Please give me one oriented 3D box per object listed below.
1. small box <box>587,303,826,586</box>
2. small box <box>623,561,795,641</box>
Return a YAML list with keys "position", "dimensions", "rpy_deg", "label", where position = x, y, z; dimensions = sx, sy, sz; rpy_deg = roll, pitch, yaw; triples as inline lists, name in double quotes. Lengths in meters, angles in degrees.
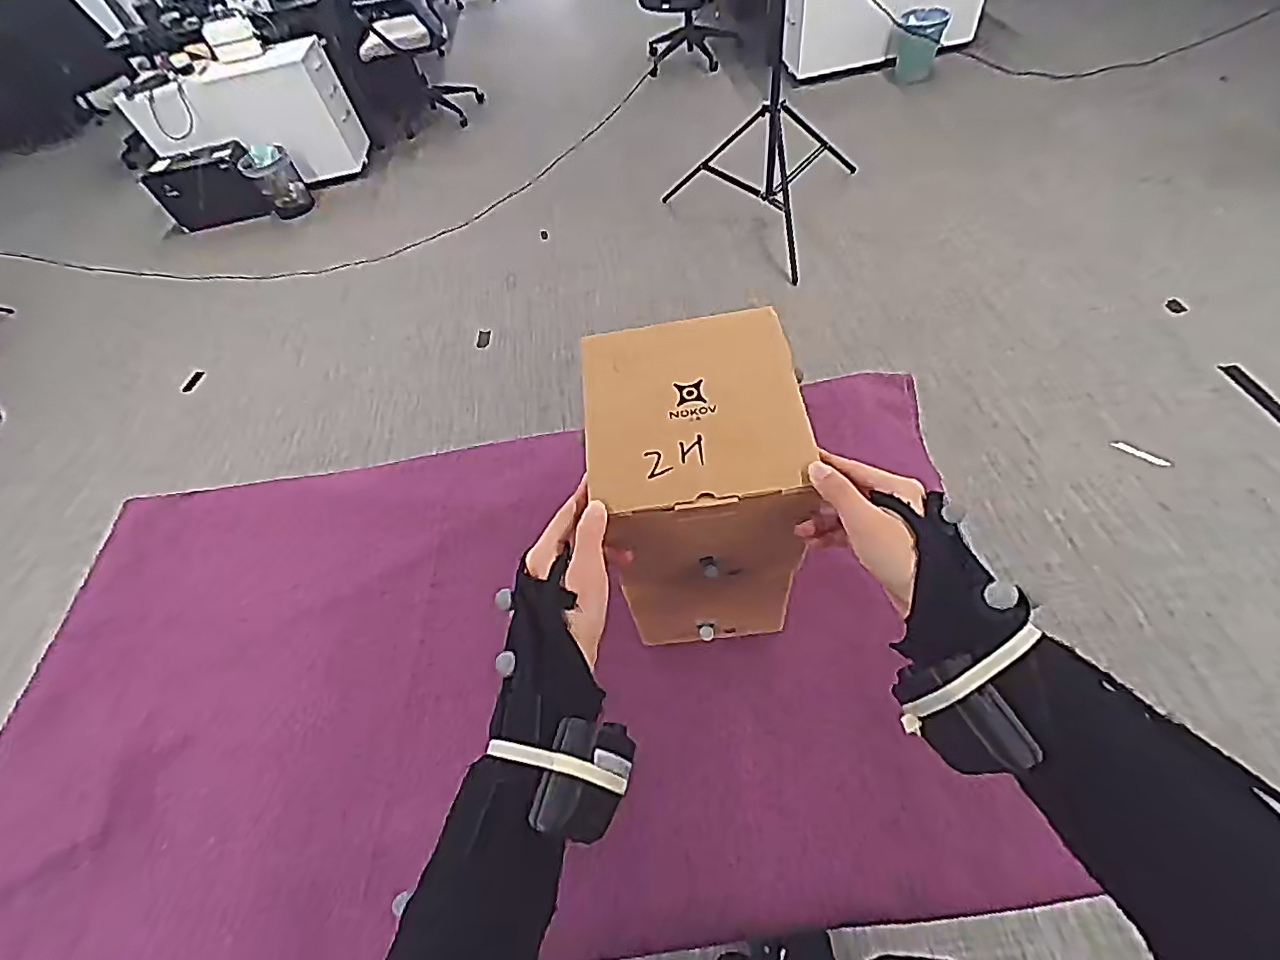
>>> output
- position: [0.051, -0.023, 0.480]
  dimensions: [0.168, 0.176, 0.179]
  rpy_deg: [-8, 59, 5]
  label: "small box"
- position: [0.071, 0.068, 0.625]
  dimensions: [0.168, 0.176, 0.179]
  rpy_deg: [-8, 55, 5]
  label: "small box"
